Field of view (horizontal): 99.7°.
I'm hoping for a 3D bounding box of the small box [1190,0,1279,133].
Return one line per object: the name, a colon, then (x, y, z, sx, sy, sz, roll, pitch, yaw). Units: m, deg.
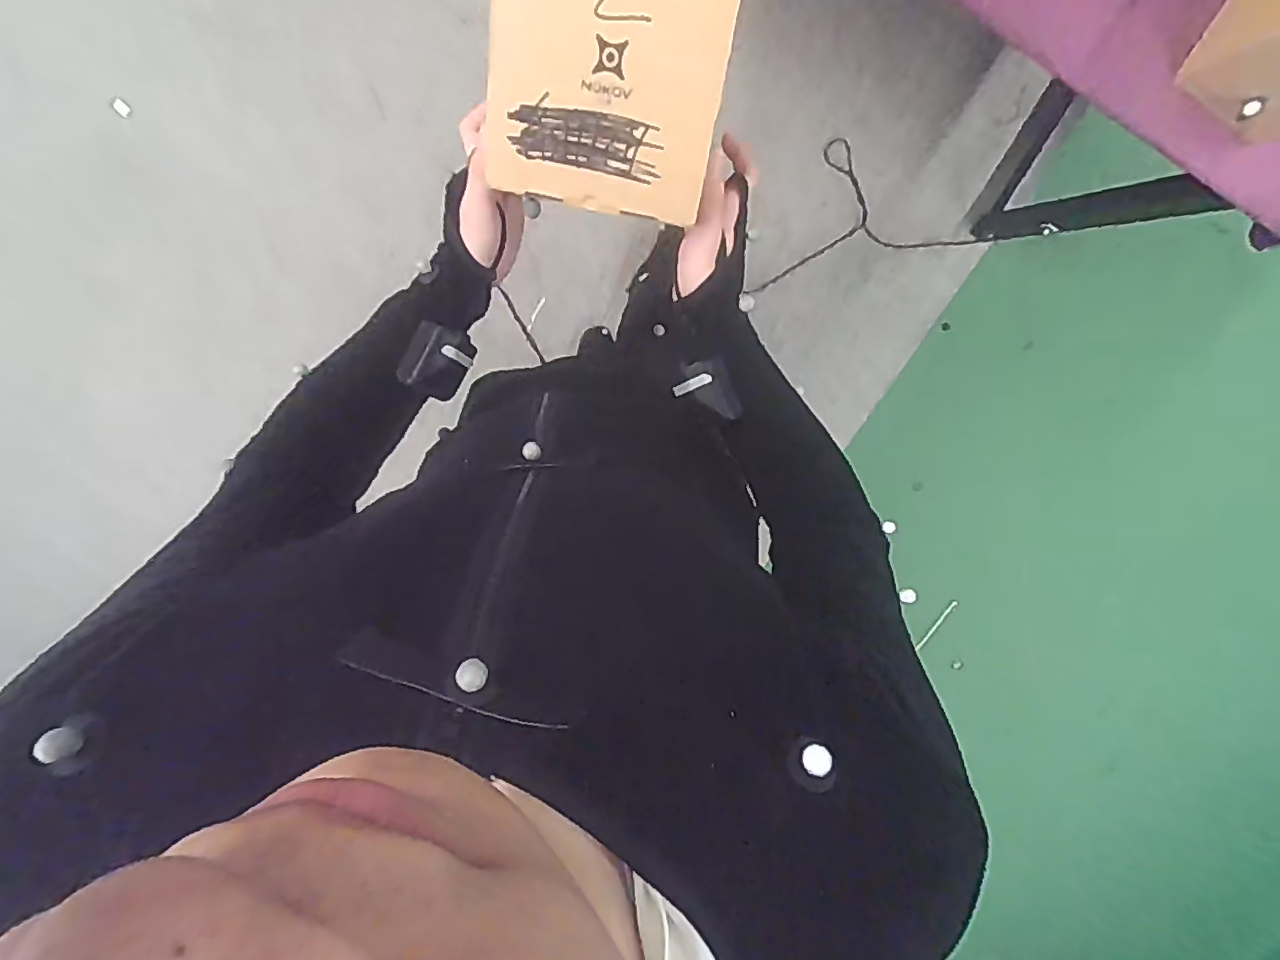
small box: (0.815, -0.543, 0.616, 0.168, 0.176, 0.179, 26, 107, -8)
